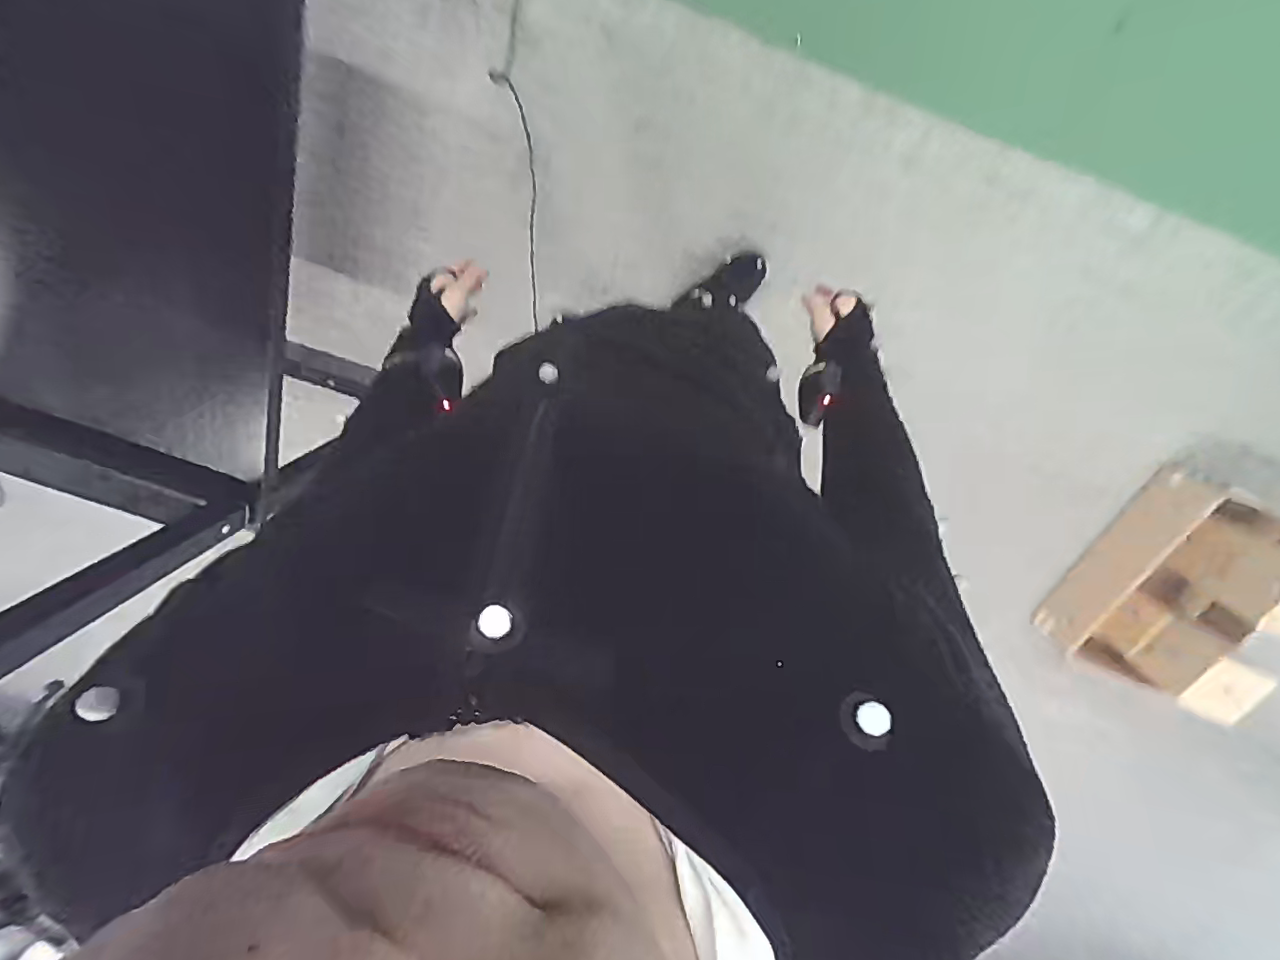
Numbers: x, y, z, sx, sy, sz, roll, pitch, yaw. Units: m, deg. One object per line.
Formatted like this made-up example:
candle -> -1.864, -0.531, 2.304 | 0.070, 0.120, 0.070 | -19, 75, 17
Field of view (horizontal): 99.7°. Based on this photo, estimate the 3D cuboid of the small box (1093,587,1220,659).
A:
small box -> 1.516, 0.445, 1.603 | 0.179, 0.176, 0.168 | 23, 113, -4

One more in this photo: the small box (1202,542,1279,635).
small box -> 1.592, 0.279, 1.341 | 0.179, 0.176, 0.168 | 21, 114, -3

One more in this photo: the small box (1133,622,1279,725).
small box -> 1.503, 0.510, 1.452 | 0.179, 0.176, 0.168 | 23, 113, -4
